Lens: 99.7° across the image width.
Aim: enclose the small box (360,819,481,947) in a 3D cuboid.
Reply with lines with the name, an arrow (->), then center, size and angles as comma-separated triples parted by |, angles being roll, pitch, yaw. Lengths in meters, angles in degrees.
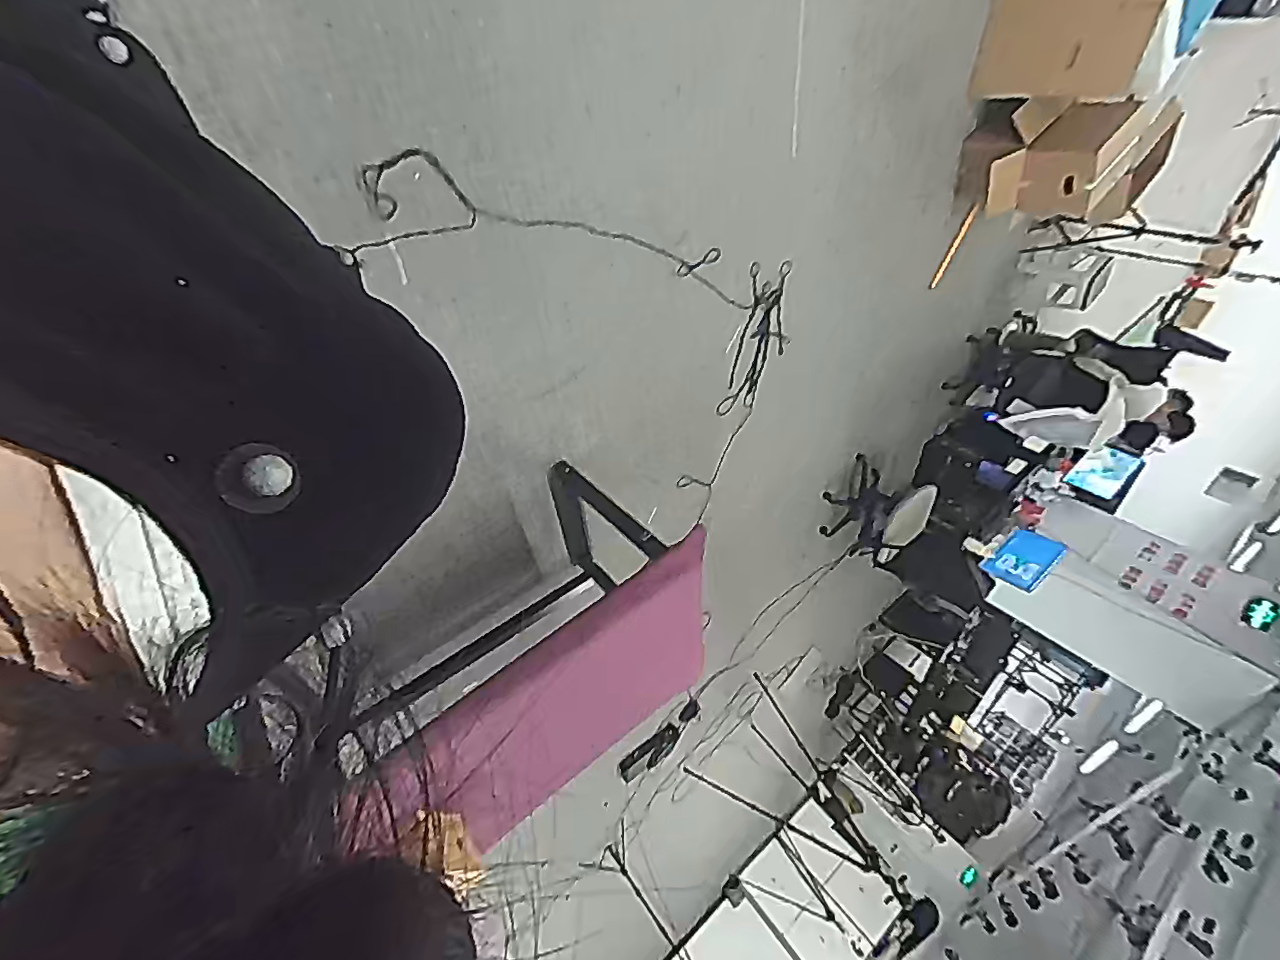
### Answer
small box -> -0.518, 0.936, 1.272 | 0.179, 0.176, 0.168 | -45, 141, -11
